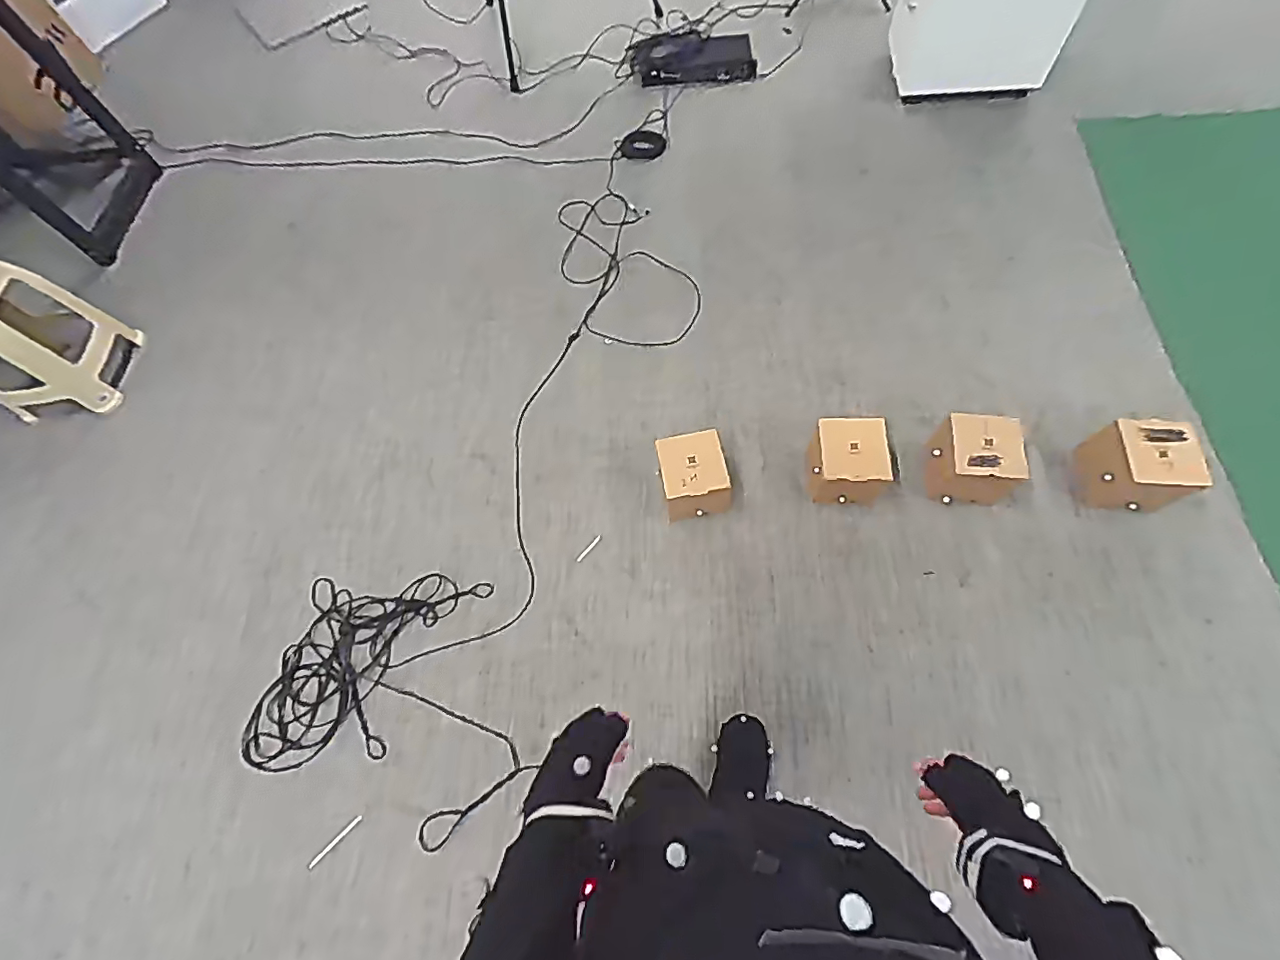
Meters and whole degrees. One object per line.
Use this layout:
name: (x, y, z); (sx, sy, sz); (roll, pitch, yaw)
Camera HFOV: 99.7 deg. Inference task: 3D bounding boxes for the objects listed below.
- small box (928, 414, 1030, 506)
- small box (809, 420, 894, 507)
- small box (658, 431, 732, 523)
small box: (0.862, -0.047, 1.394); (0.168, 0.176, 0.179); (6, 65, 8)
small box: (0.549, -0.041, 1.427); (0.168, 0.176, 0.179); (0, 66, 6)
small box: (0.146, -0.004, 1.454); (0.168, 0.176, 0.179); (-11, 64, 2)
